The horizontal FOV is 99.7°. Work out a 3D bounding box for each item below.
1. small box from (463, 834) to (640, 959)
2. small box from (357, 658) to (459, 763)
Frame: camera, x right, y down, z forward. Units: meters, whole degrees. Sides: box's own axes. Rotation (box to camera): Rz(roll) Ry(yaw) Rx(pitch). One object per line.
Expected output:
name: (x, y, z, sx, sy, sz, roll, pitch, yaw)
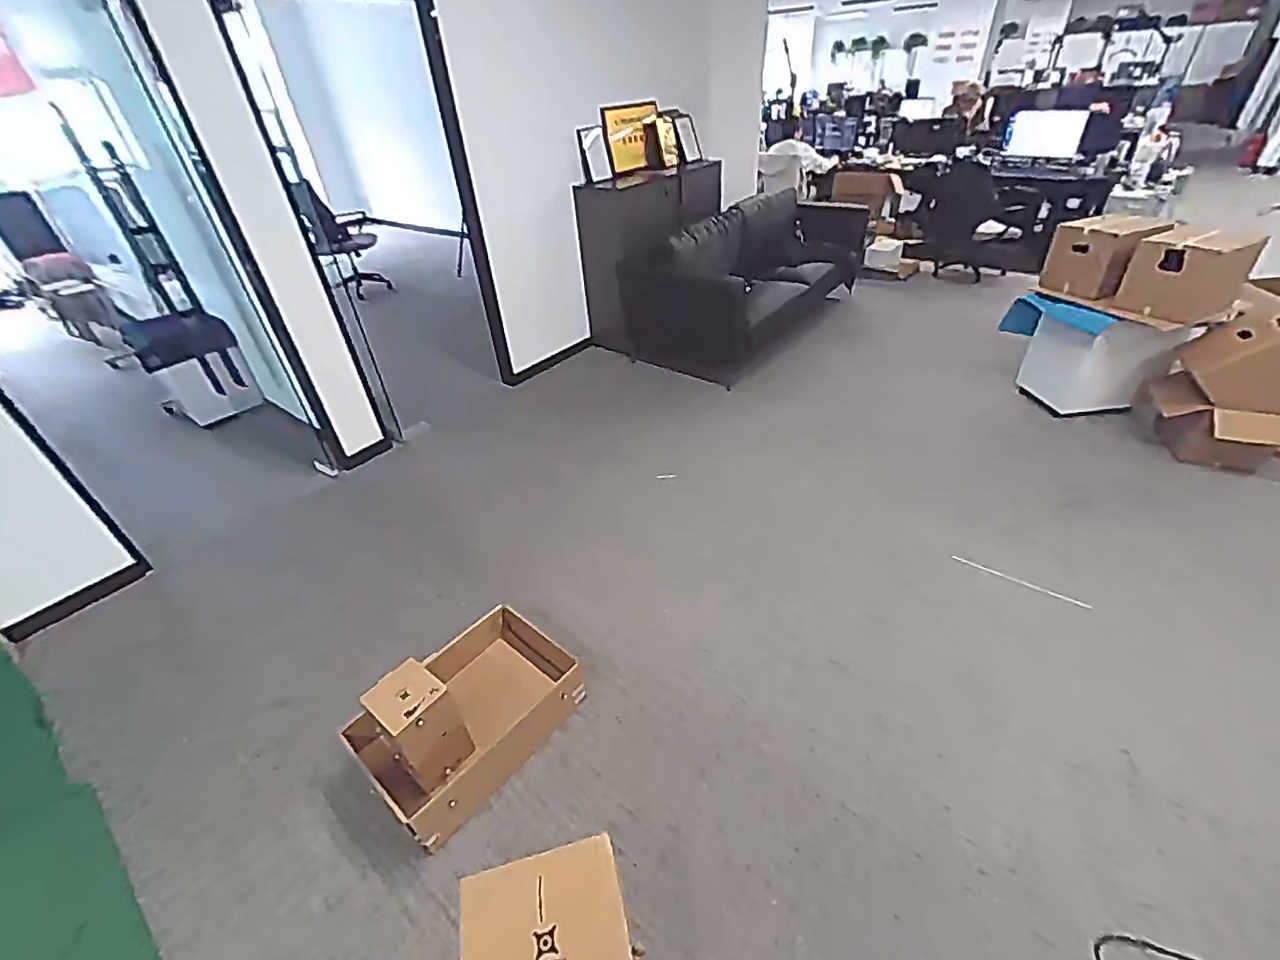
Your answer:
small box: (-0.085, 0.524, 0.578, 0.168, 0.176, 0.179, -12, 39, -9)
small box: (-0.629, 0.631, 1.478, 0.179, 0.176, 0.168, 22, 45, 31)
